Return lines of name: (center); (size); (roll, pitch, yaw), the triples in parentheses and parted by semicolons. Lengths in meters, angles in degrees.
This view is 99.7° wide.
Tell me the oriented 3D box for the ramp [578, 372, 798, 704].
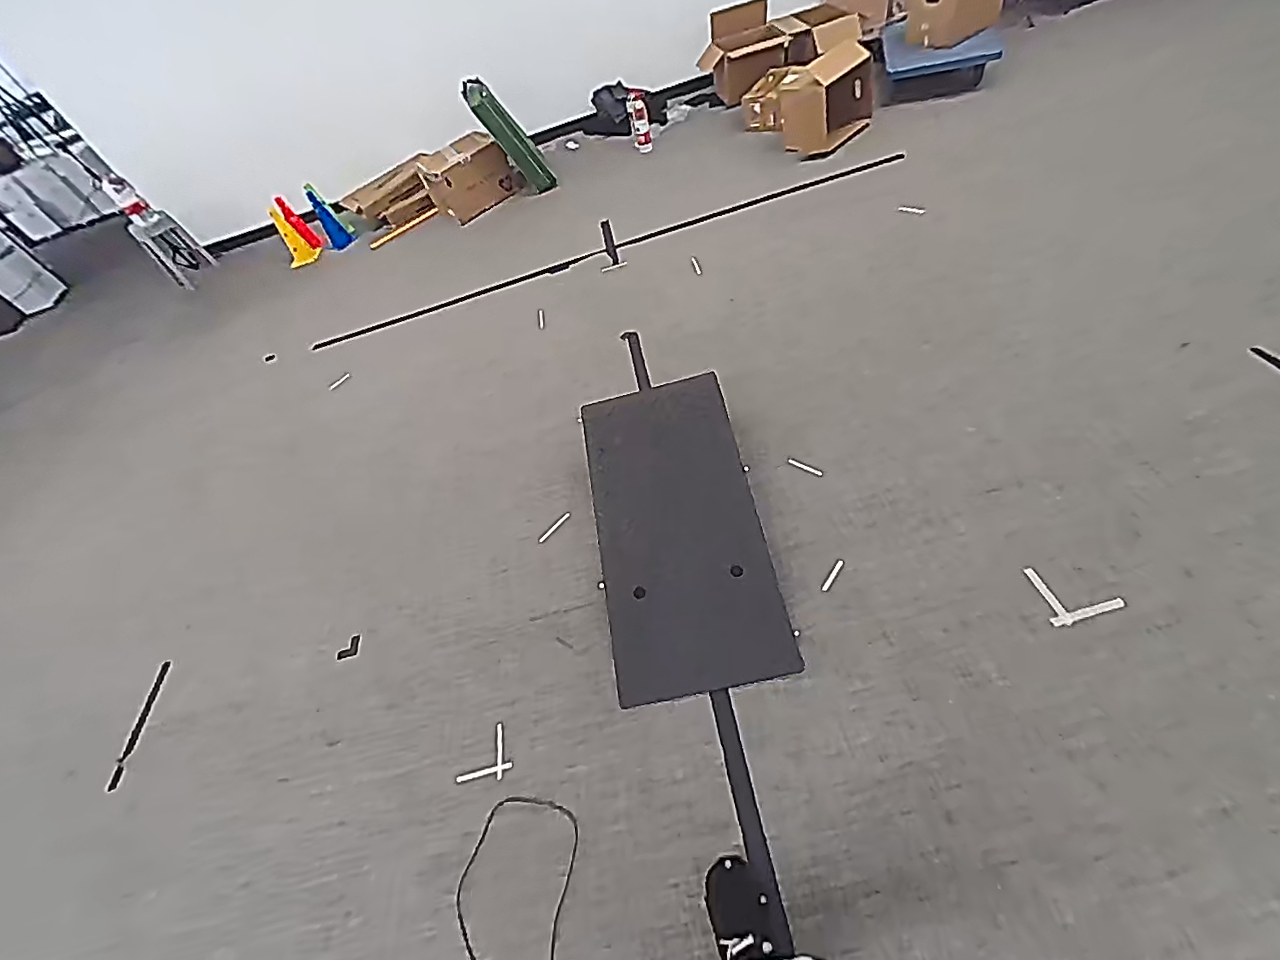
ramp: (0.098, 0.113, 1.652); (0.509, 0.206, 0.991); (-15, 51, 4)
